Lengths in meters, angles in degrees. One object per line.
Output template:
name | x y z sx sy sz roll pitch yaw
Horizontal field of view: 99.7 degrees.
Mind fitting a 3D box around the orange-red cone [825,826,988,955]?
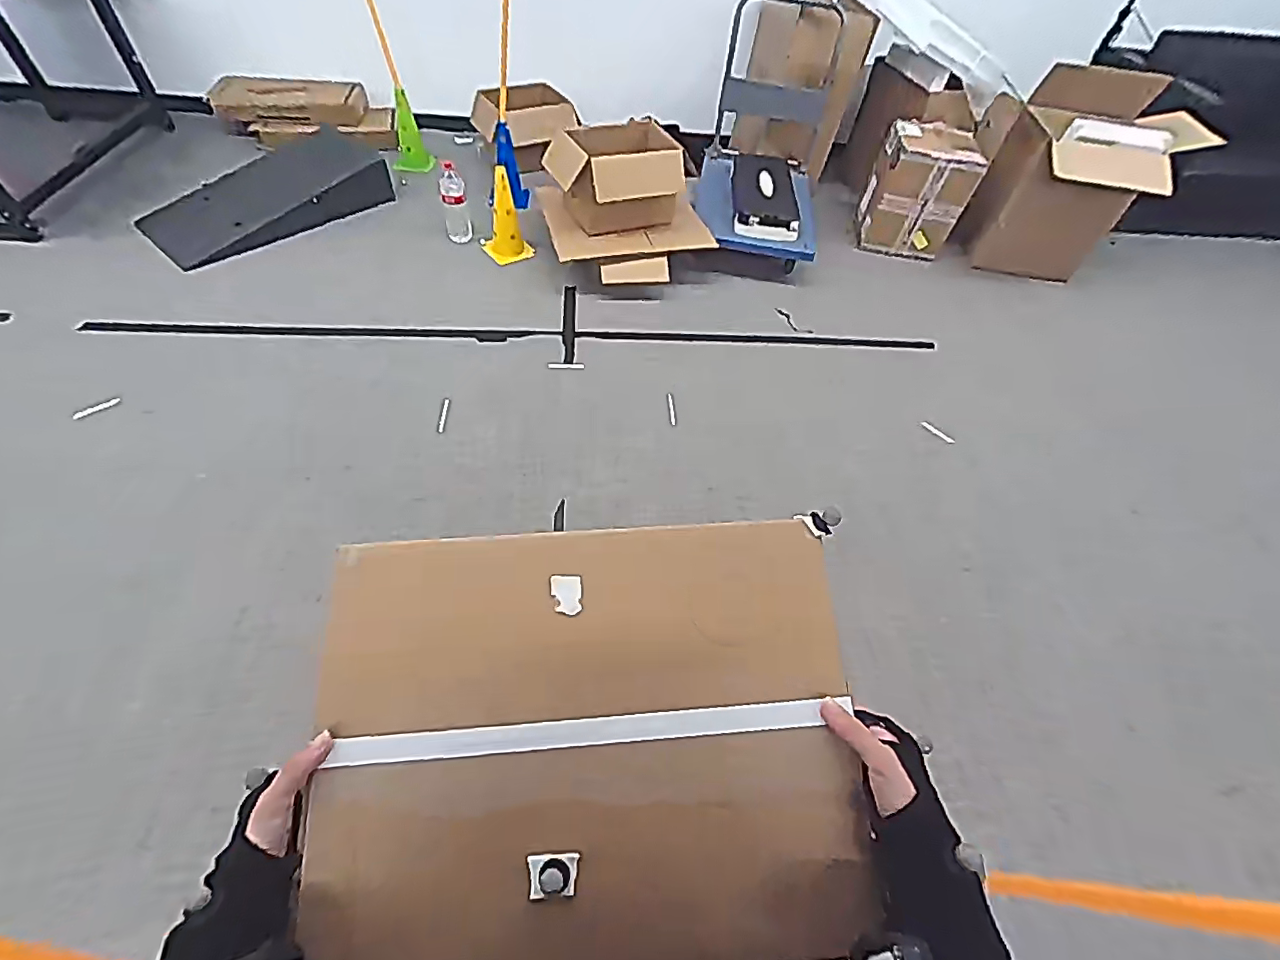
orange-red cone | 0.529 0.764 1.015 0.199 0.360 0.198 -6 55 -13
